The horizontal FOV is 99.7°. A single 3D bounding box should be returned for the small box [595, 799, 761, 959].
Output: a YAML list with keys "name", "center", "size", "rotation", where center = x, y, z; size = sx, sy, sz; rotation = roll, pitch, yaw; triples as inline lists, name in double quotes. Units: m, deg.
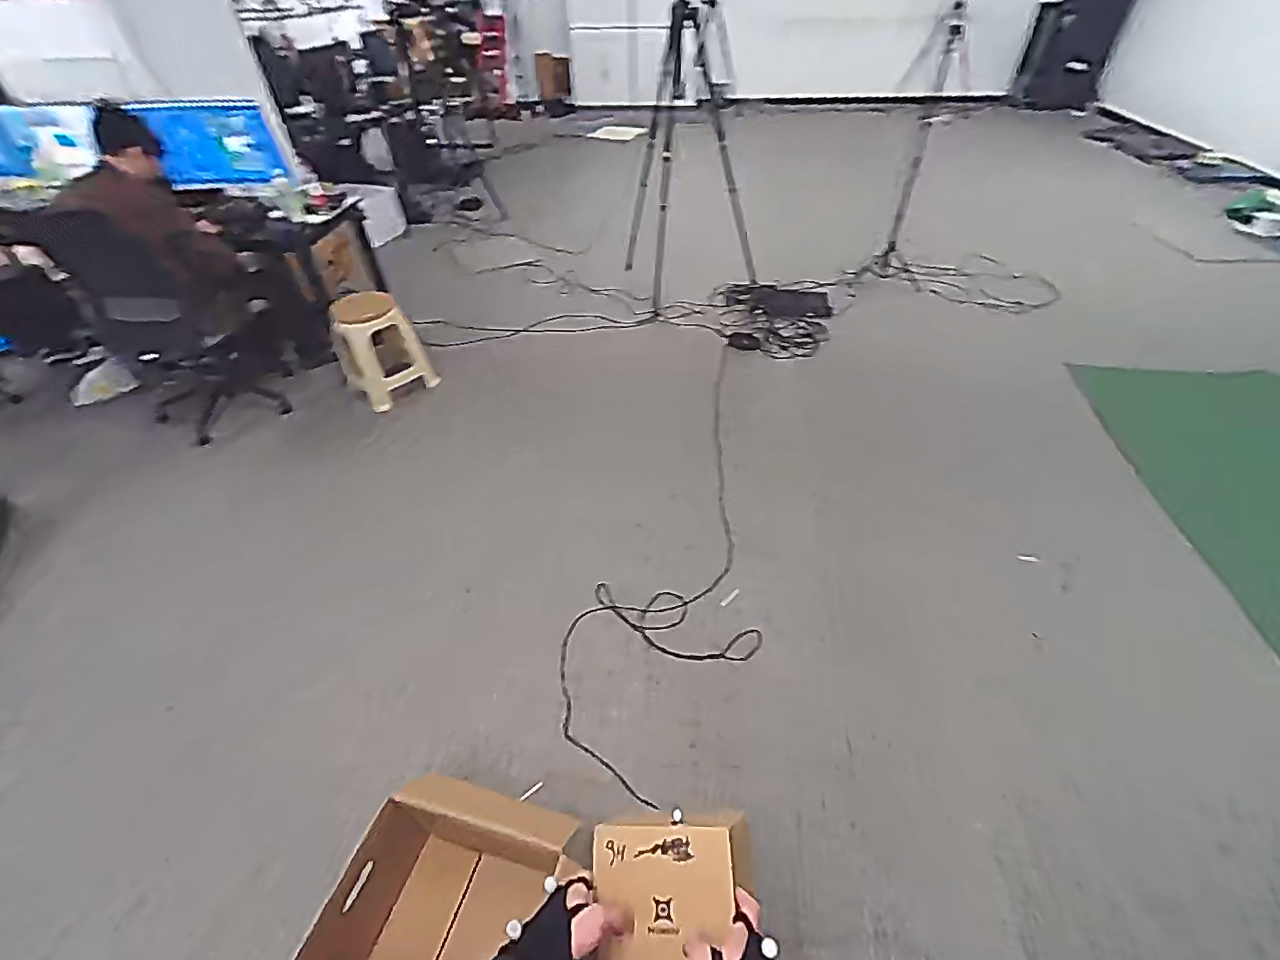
- name: "small box"
  center: [0.051, 0.512, 0.680]
  size: [0.168, 0.176, 0.179]
  rotation: [-11, 62, 15]
